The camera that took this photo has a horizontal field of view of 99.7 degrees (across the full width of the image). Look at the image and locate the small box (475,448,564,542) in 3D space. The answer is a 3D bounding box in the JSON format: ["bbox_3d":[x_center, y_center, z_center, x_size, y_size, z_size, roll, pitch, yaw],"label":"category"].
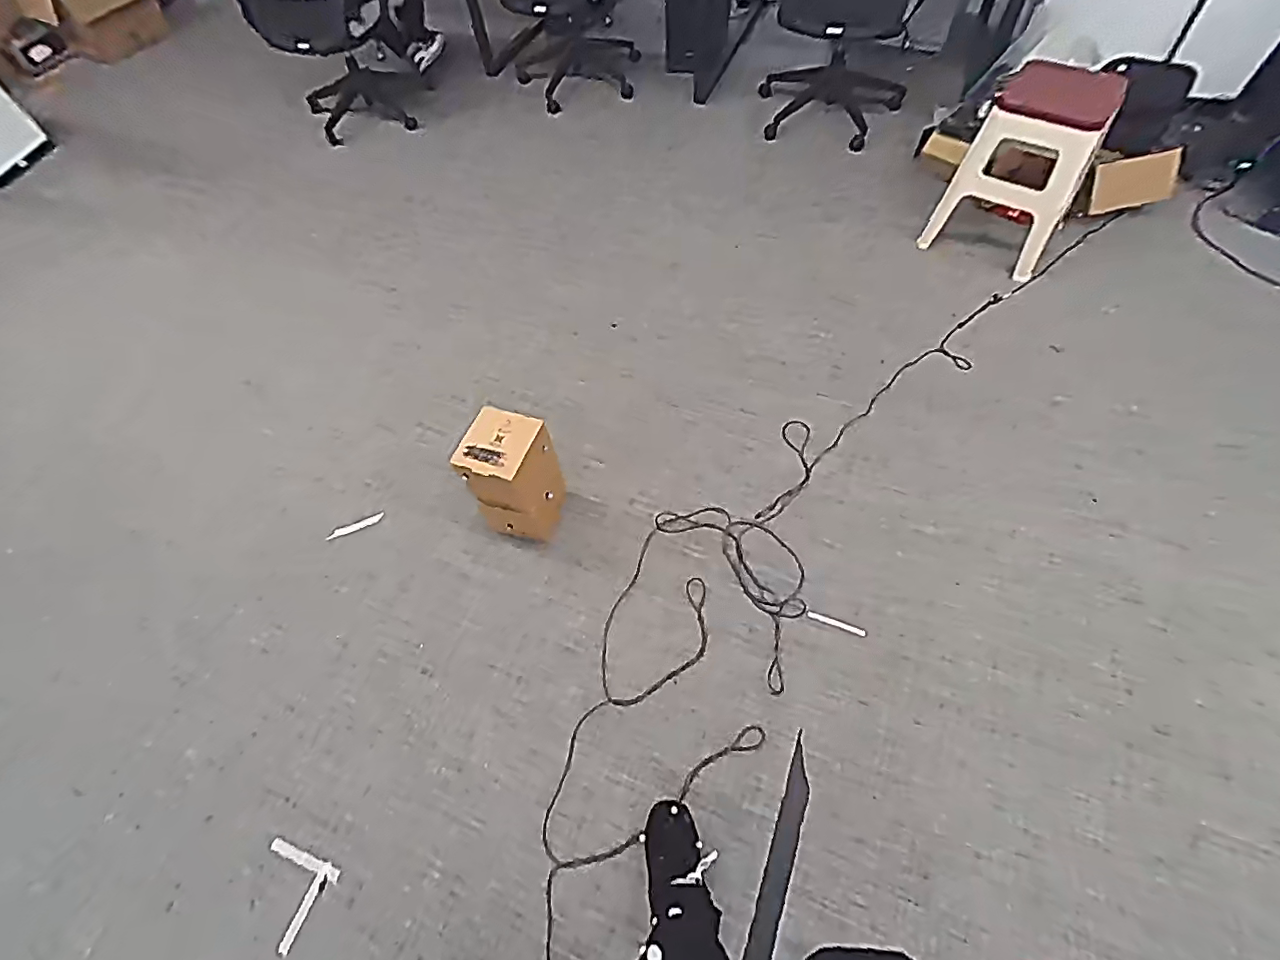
[{"bbox_3d":[-0.314,0.043,1.458,0.168,0.176,0.179,11,62,11],"label":"small box"}]
